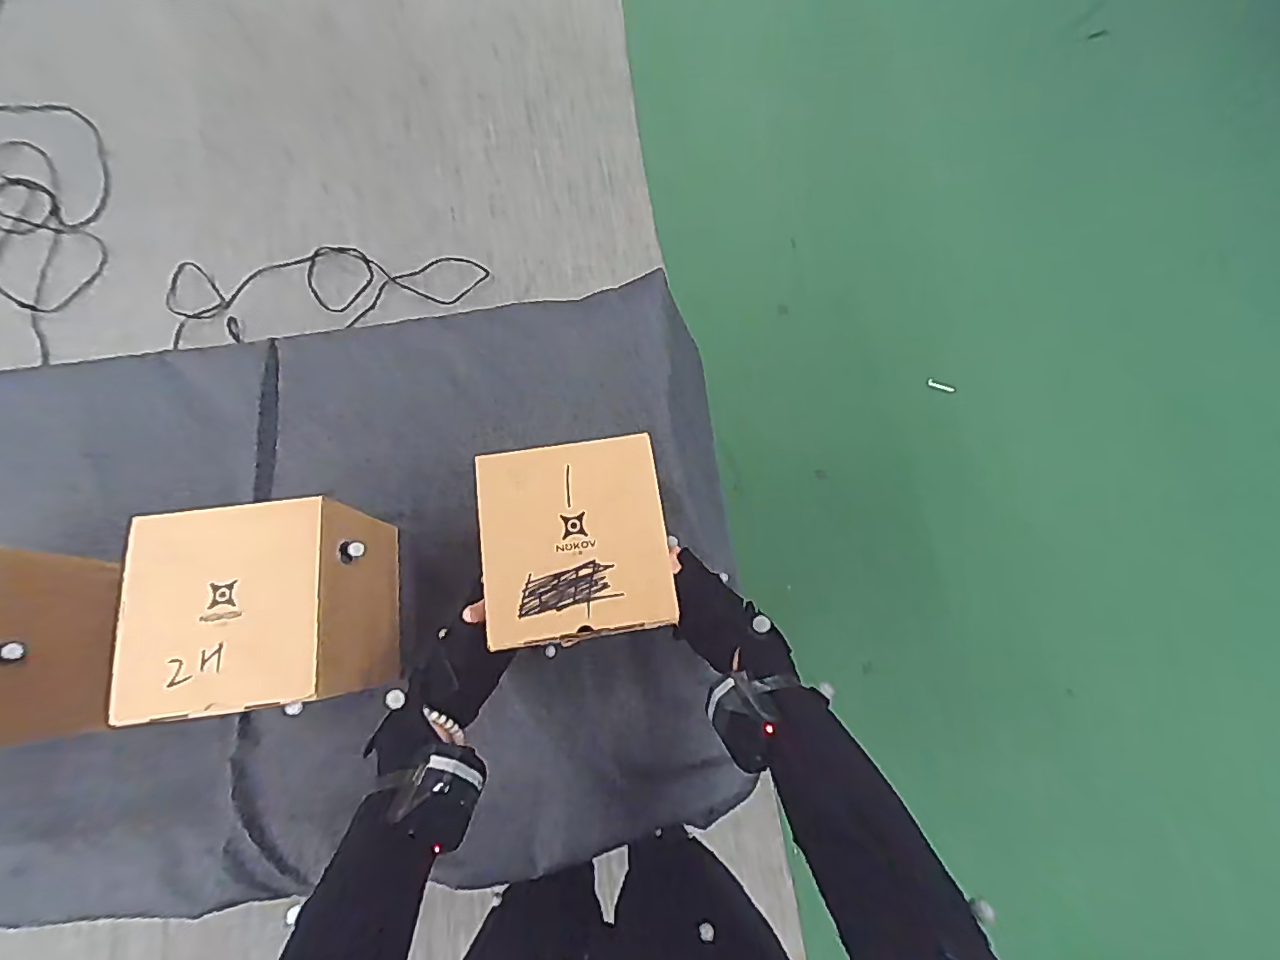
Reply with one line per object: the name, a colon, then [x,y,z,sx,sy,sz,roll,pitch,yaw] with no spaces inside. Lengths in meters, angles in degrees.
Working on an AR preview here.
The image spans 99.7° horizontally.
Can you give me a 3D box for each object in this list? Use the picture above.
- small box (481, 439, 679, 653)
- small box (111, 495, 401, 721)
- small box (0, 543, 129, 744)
small box: [-0.057,0.074,0.558,0.168,0.176,0.179,-7,74,-4]
small box: [-0.352,0.125,0.534,0.168,0.176,0.179,-6,75,-3]
small box: [-0.647,0.163,0.516,0.168,0.176,0.179,-6,76,-4]
